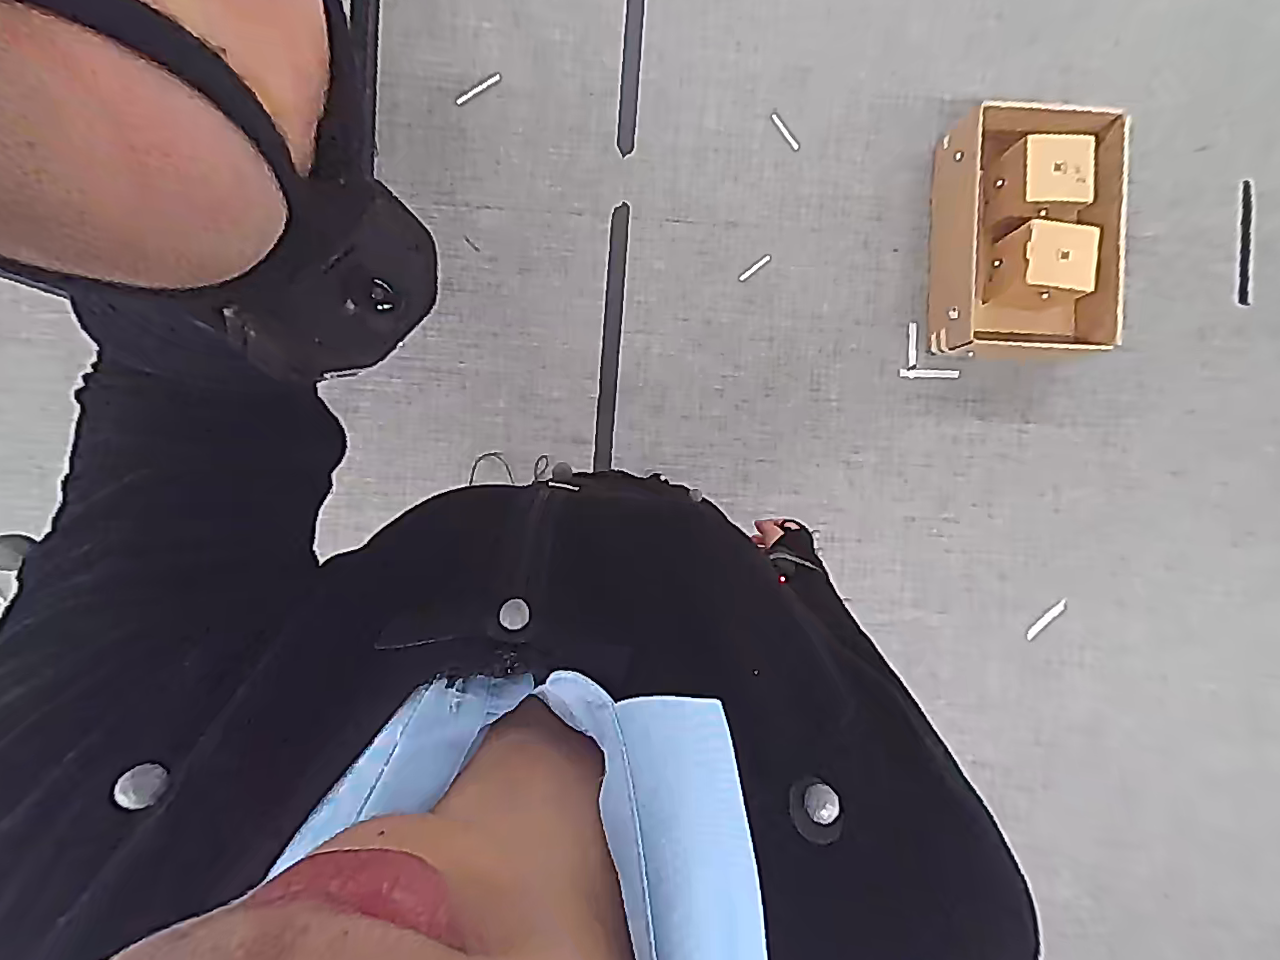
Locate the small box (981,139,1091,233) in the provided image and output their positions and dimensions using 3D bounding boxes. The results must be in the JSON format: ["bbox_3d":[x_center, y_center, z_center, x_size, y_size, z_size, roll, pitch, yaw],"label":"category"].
[{"bbox_3d":[1.040,-0.770,1.432,0.179,0.176,0.168,0,92,-3],"label":"small box"}]

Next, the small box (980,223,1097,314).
[{"bbox_3d":[1.051,-0.553,1.435,0.179,0.176,0.168,8,89,-2],"label":"small box"}]
